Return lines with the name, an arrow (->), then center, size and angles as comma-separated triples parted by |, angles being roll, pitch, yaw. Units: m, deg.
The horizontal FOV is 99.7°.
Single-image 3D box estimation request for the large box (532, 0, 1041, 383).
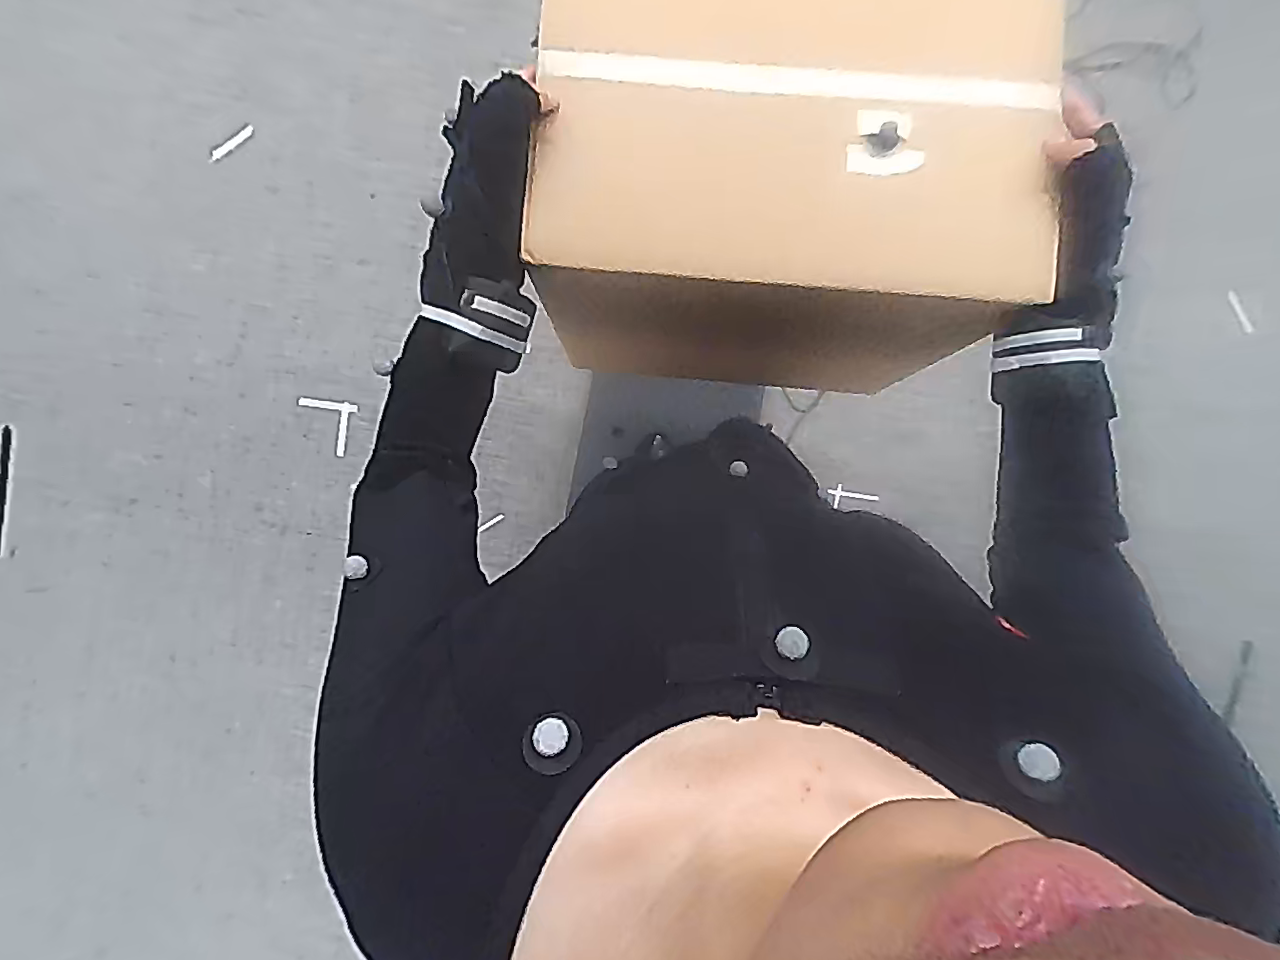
large box -> 0.119, -0.303, 0.584 | 0.408, 0.320, 0.320 | 5, 87, 0
